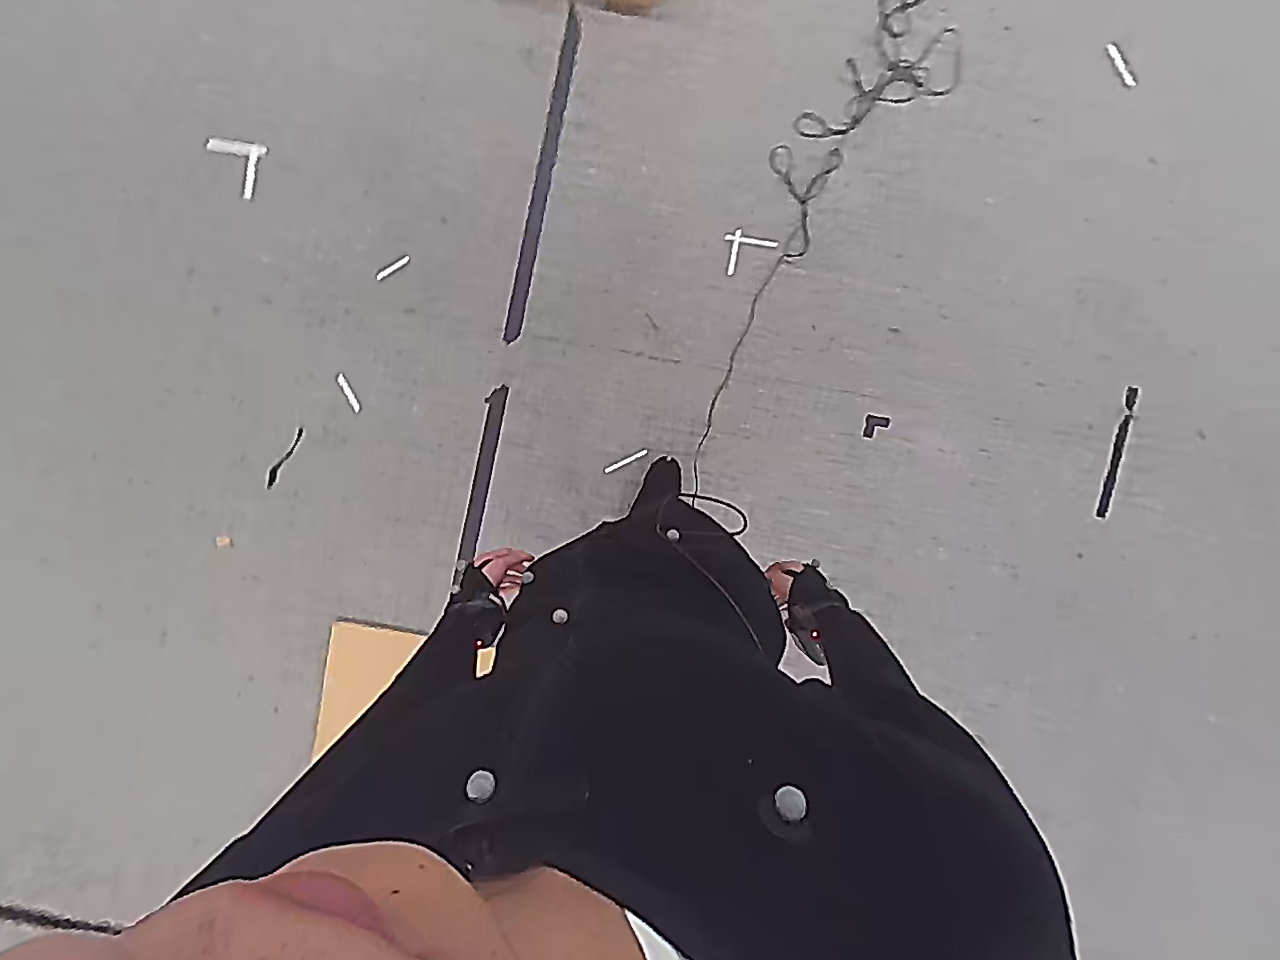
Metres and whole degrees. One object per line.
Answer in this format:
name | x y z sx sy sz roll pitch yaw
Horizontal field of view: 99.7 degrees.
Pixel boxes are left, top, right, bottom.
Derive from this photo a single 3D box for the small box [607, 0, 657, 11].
small box | -0.023 -1.473 1.513 0.168 0.176 0.179 9 91 0
